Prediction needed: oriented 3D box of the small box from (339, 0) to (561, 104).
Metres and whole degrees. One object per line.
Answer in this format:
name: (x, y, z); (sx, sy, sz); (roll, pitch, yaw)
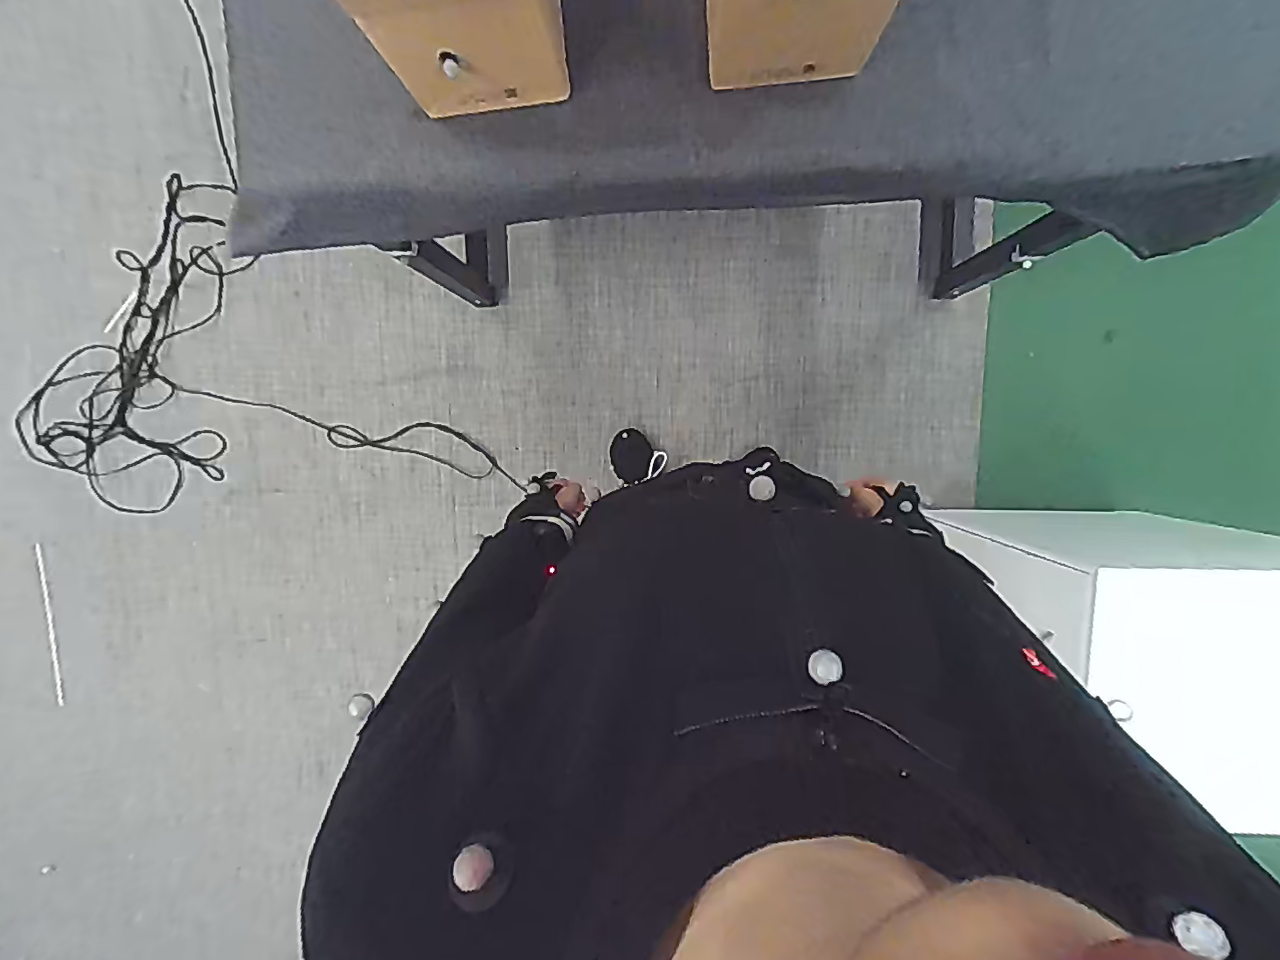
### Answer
small box: (-0.178, -0.501, 0.526); (0.168, 0.176, 0.179); (-5, 95, 3)

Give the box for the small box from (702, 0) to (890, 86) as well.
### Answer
small box: (0.145, -0.520, 0.510); (0.168, 0.176, 0.179); (-3, 95, 3)
